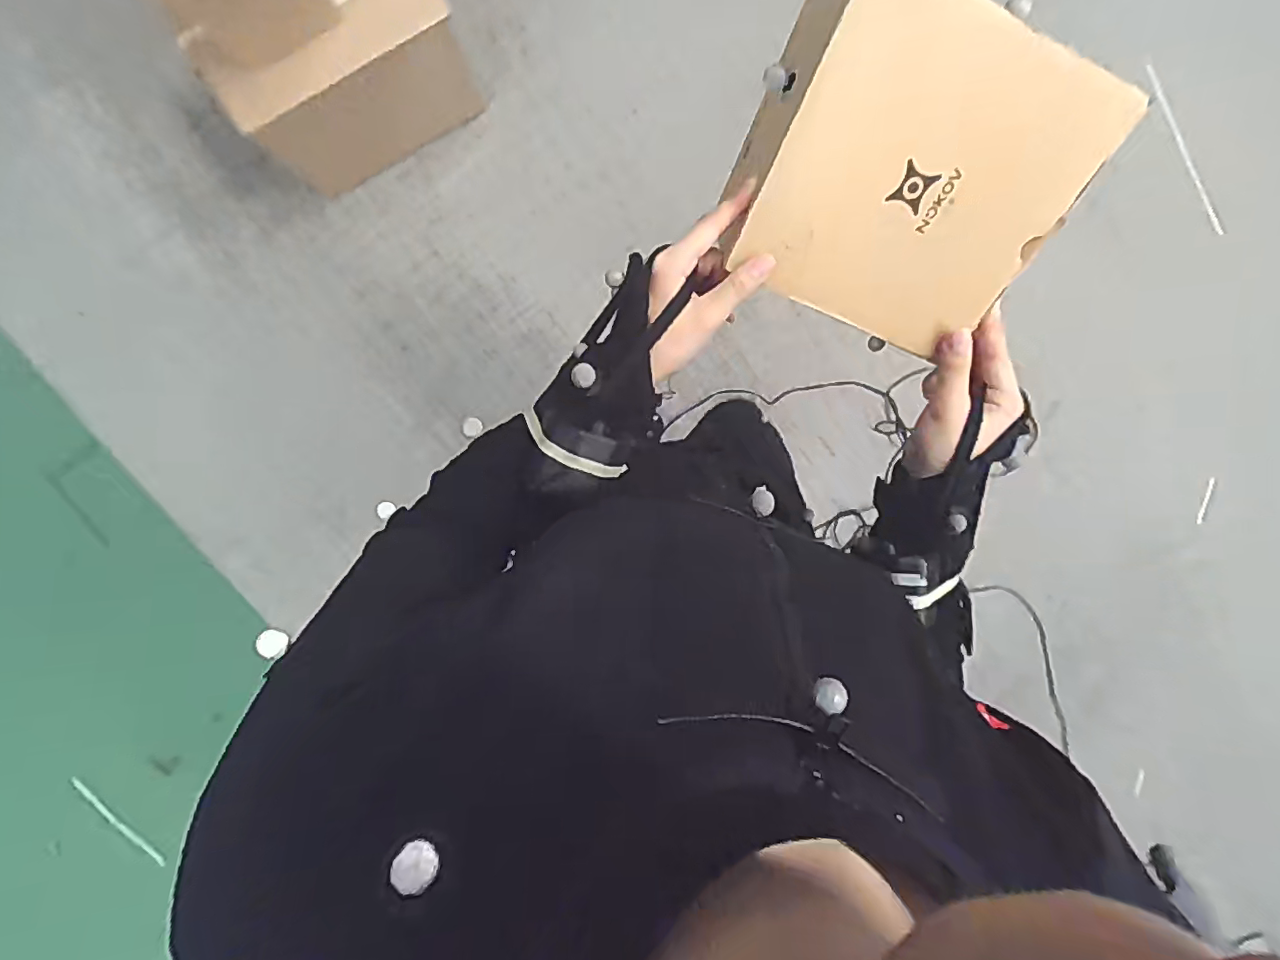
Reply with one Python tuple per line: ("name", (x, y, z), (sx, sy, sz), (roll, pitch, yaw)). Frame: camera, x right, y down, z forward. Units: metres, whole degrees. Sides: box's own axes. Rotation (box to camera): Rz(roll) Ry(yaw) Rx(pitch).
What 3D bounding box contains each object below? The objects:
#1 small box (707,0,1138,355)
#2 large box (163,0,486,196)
("small box", (0.158, -0.217, 0.379), (0.179, 0.176, 0.168), (18, 124, -10))
("large box", (-0.561, -0.820, 1.010), (0.408, 0.320, 0.320), (-30, 102, -1))
